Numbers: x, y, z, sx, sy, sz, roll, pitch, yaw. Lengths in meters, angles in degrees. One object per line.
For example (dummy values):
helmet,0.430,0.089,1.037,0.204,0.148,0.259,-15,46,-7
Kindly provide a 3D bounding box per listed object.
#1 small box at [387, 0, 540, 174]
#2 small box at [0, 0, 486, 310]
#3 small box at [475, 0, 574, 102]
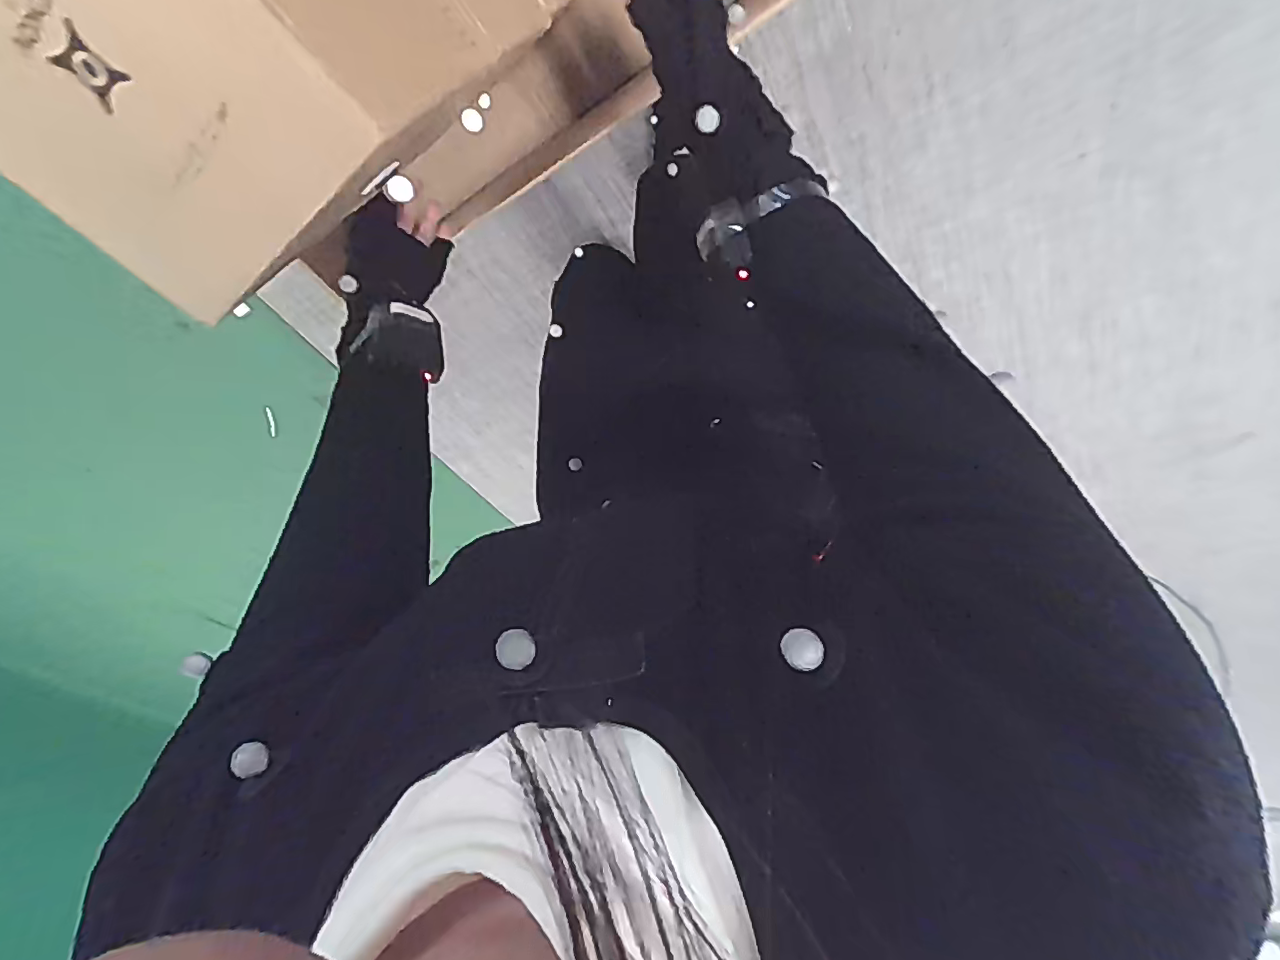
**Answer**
small box,-0.197,-0.344,0.381,0.168,0.176,0.179,-24,129,28
small box,-0.210,-0.229,0.269,0.168,0.176,0.179,-23,129,29
small box,-0.183,-0.466,0.491,0.168,0.176,0.179,-24,128,29
